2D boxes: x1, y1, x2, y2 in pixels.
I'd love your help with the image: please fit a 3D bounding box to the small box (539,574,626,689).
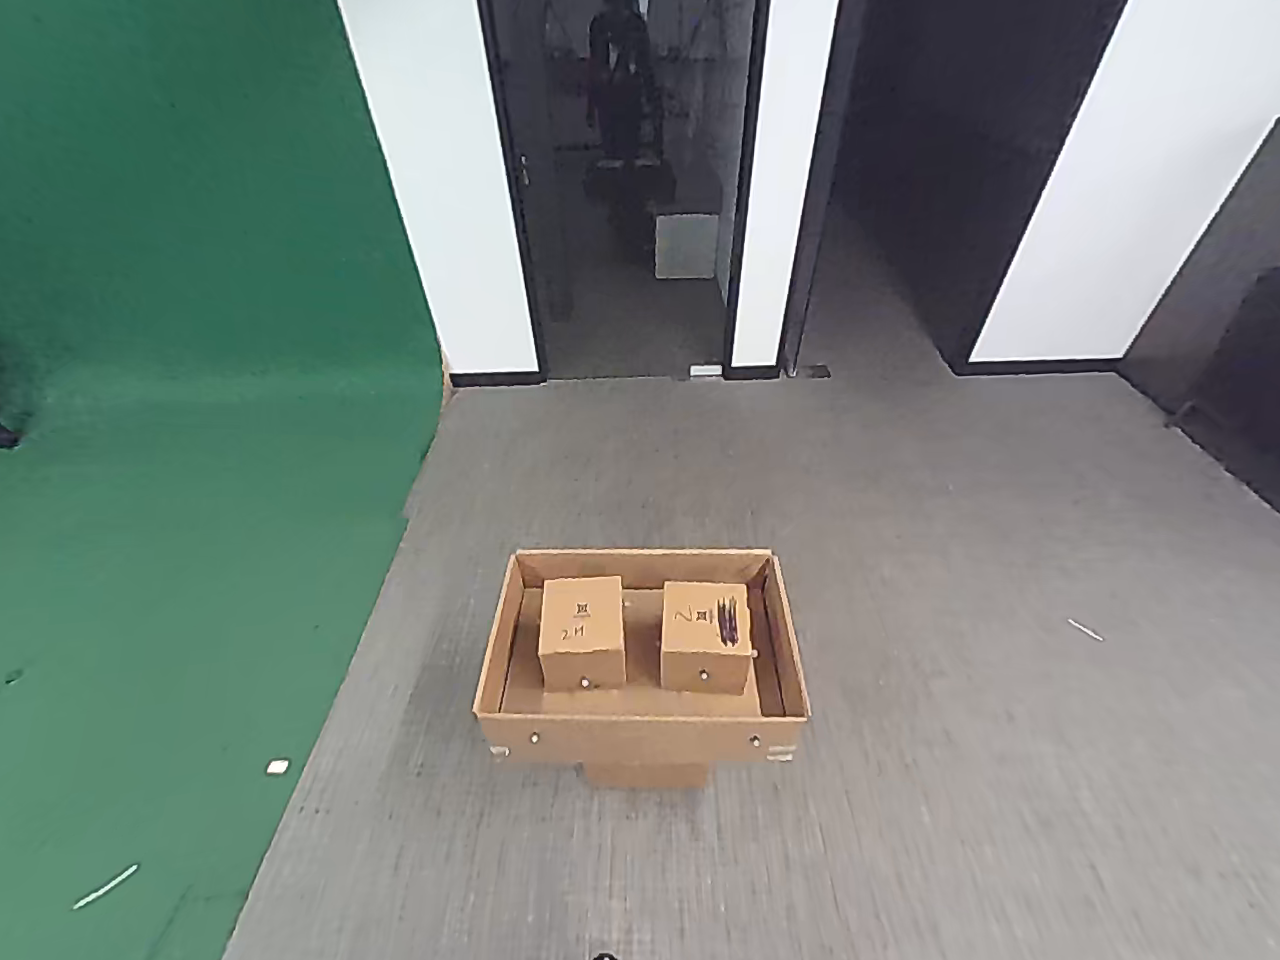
[{"bbox_3d":[-0.116,0.322,1.151,0.168,0.176,0.179,-2,43,-1],"label":"small box"}]
